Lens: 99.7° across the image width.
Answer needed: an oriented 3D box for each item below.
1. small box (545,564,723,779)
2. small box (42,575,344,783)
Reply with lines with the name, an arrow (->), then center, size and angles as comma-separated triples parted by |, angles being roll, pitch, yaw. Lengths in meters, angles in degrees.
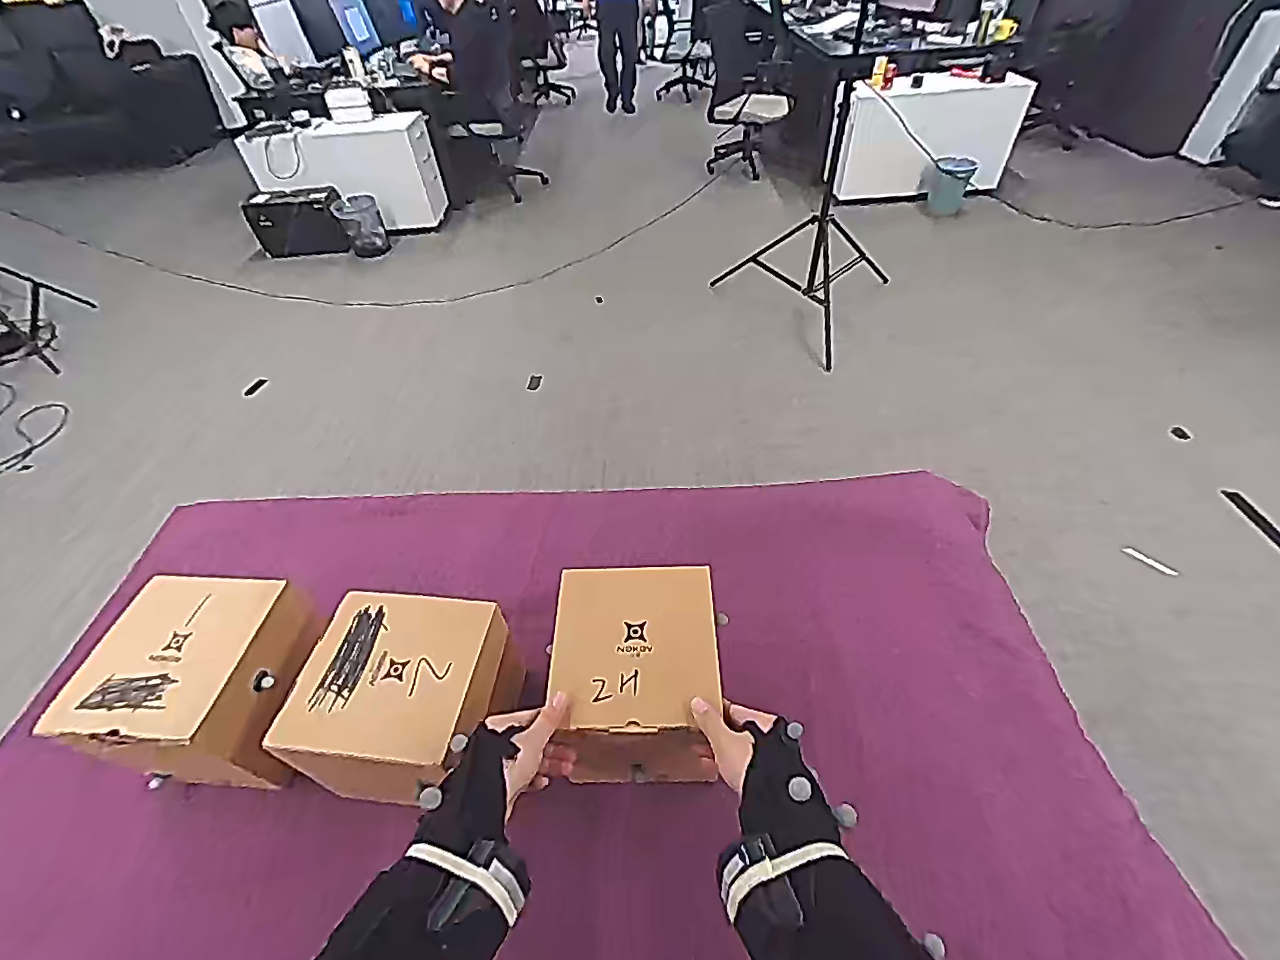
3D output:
small box -> -0.001, 0.213, 0.603 | 0.168, 0.176, 0.179 | -2, 47, 3
small box -> -0.480, 0.231, 0.622 | 0.168, 0.176, 0.179 | 1, 46, 5
